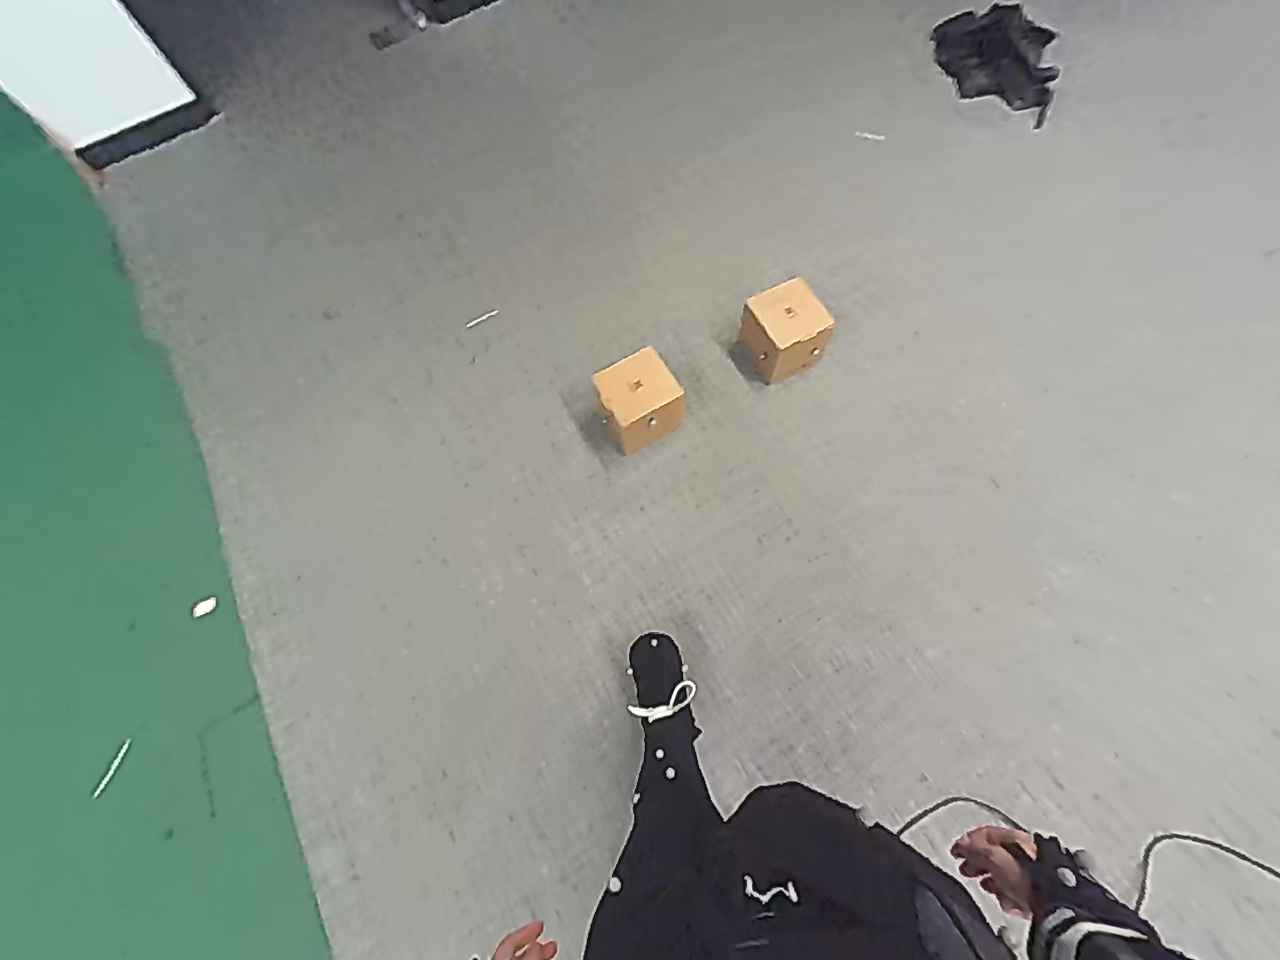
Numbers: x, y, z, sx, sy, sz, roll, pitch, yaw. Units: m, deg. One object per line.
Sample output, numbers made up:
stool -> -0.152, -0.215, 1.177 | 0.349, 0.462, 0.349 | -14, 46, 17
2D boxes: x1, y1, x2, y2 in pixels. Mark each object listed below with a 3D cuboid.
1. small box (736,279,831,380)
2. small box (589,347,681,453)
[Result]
small box -> 0.372, -0.389, 1.436 | 0.168, 0.176, 0.179 | -25, 68, -8
small box -> -0.011, -0.199, 1.381 | 0.179, 0.176, 0.168 | -29, 69, -8
